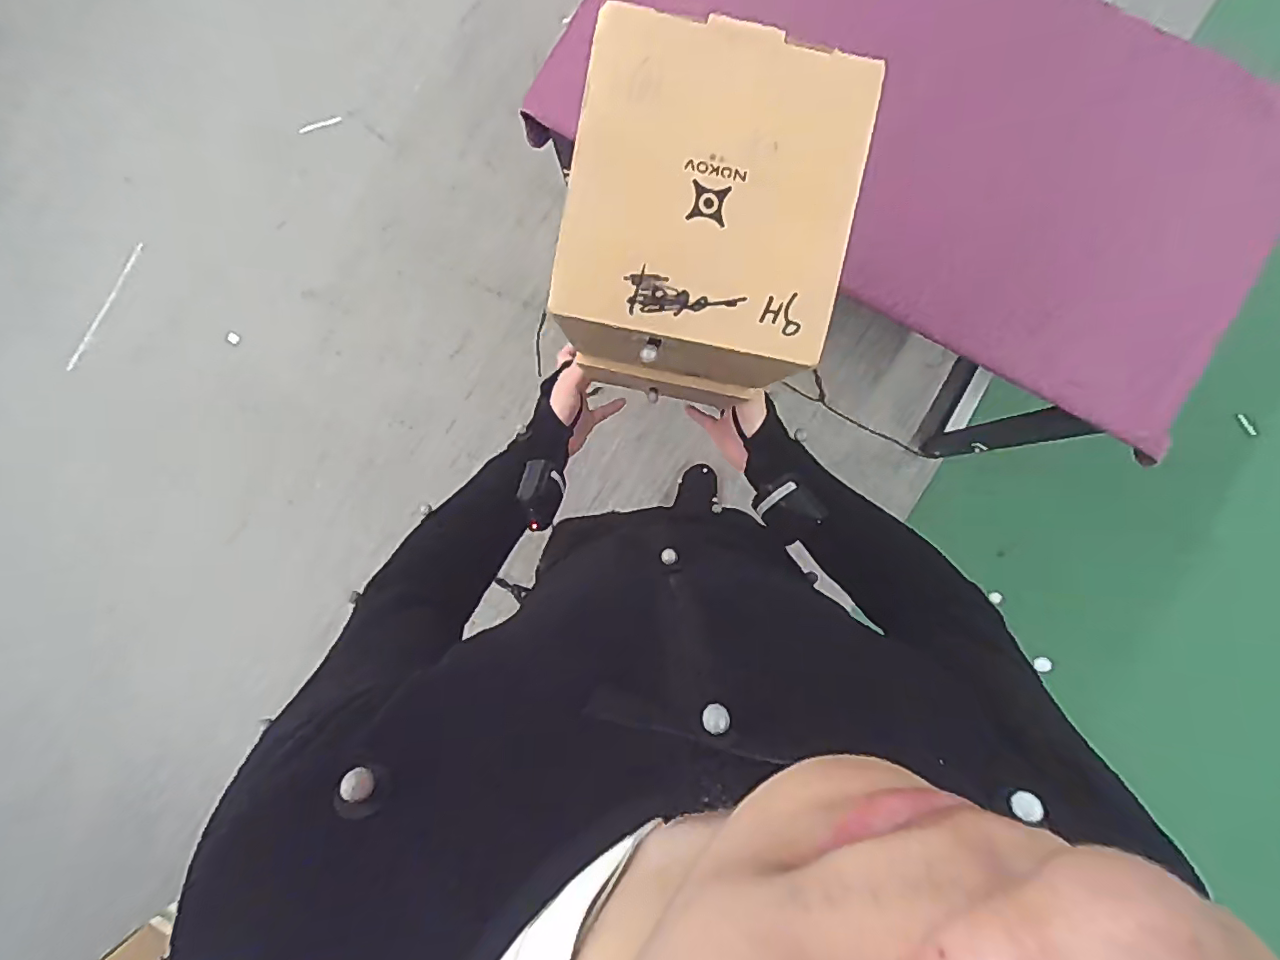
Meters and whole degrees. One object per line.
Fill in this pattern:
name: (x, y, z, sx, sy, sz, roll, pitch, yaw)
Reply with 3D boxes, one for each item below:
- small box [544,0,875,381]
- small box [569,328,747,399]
small box: (0.038, -0.180, 0.392, 0.168, 0.176, 0.179, 12, 95, -1)
small box: (0.034, -0.185, 0.556, 0.168, 0.176, 0.179, 12, 95, -2)
